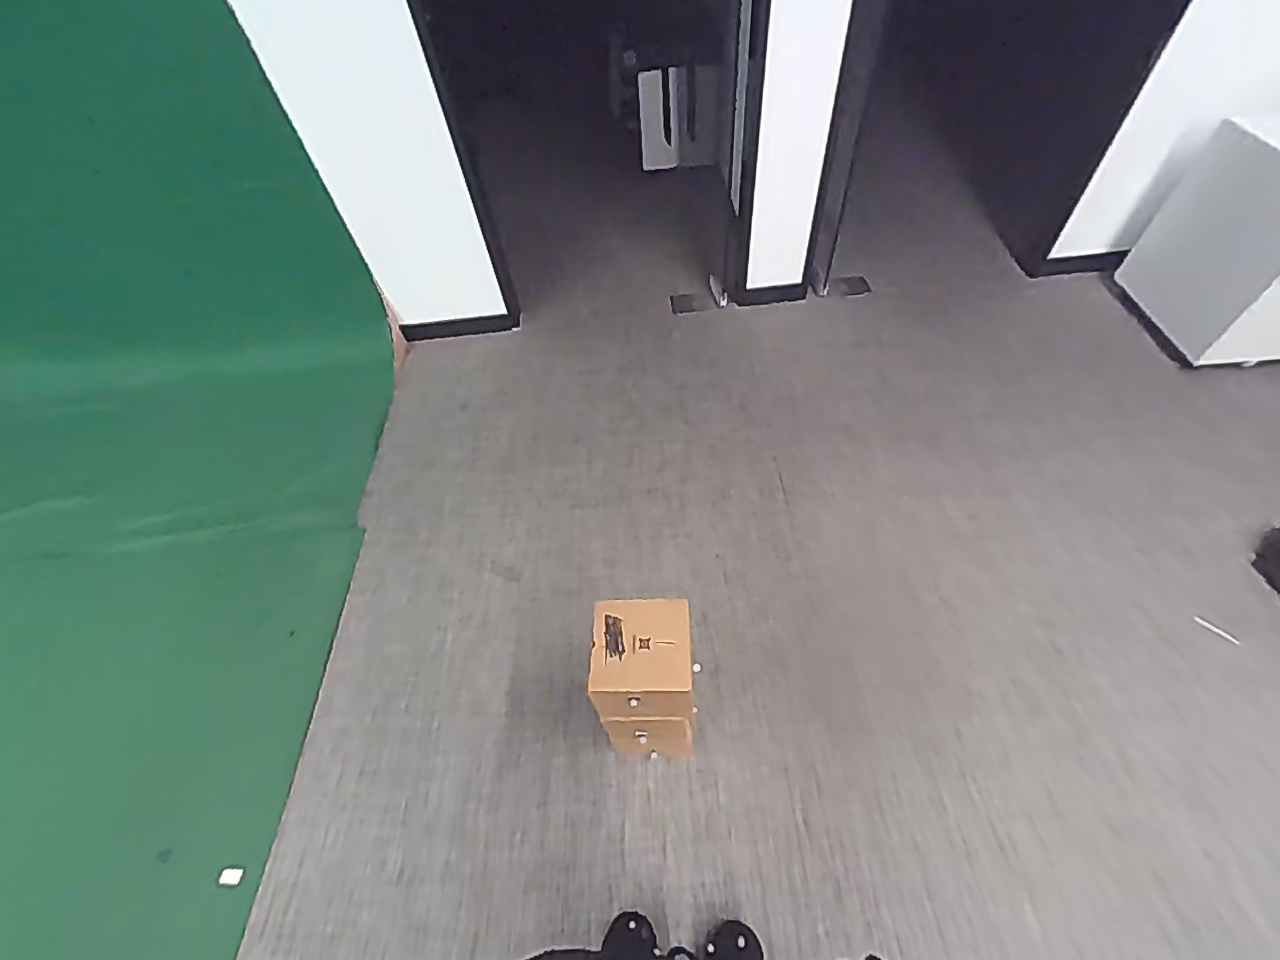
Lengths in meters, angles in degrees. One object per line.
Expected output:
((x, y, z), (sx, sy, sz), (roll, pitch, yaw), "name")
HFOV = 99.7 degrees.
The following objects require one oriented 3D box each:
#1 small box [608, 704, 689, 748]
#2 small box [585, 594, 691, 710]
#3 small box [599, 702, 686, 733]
((0.026, 0.526, 1.274), (0.179, 0.176, 0.168), (-1, 53, 5), "small box")
((0.004, 0.326, 1.016), (0.179, 0.176, 0.168), (-2, 54, 5), "small box")
((0.011, 0.425, 1.148), (0.168, 0.176, 0.179), (-3, 54, 5), "small box")
